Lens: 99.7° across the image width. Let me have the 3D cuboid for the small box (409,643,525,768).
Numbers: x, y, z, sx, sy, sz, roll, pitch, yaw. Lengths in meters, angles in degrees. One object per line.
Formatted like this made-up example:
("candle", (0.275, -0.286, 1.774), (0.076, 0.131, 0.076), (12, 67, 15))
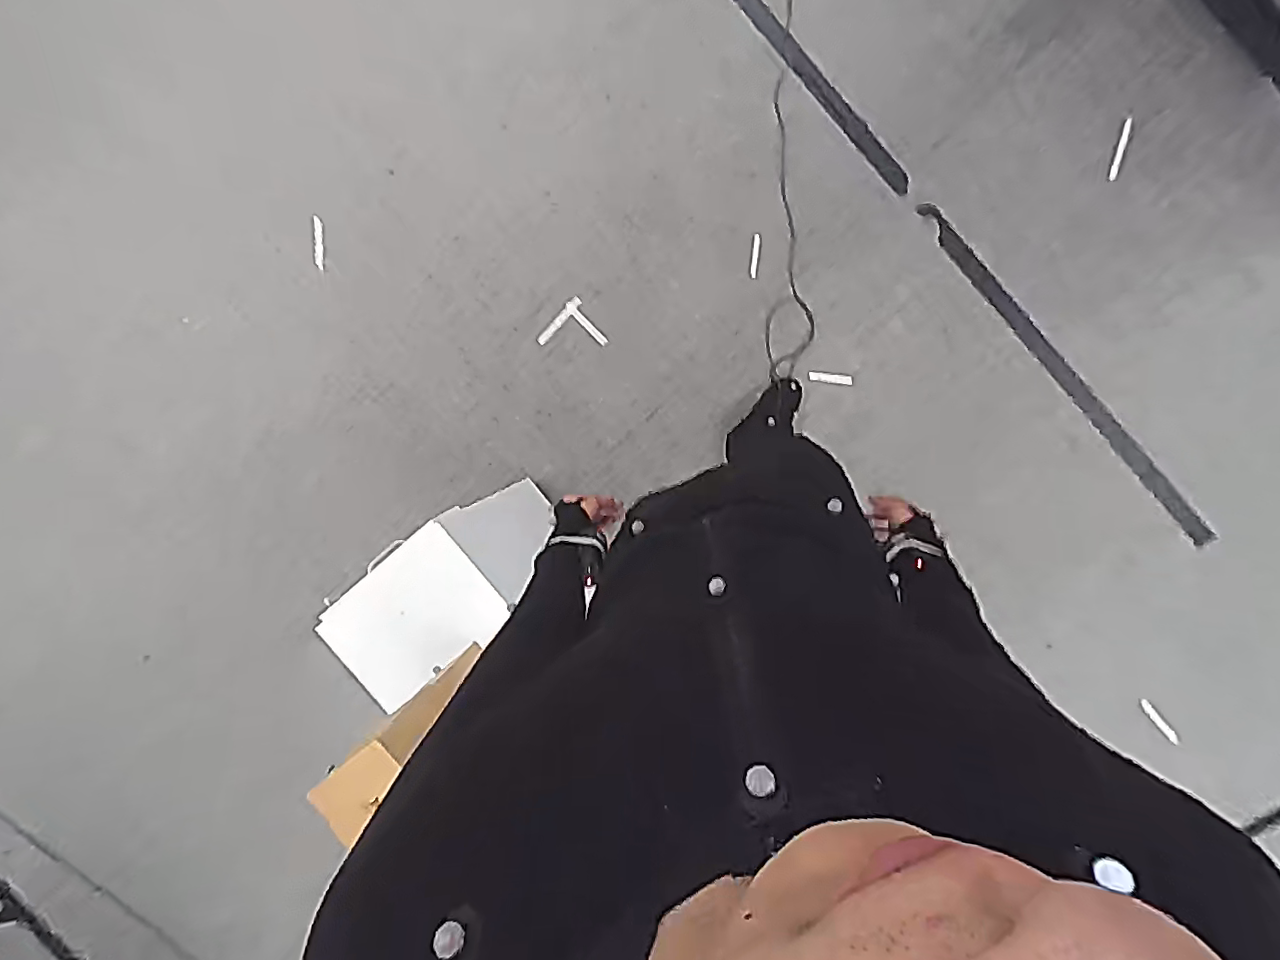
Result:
("small box", (-0.359, 0.462, 1.076), (0.168, 0.176, 0.179), (-41, 91, 12))

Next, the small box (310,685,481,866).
("small box", (-0.397, 0.489, 0.920), (0.179, 0.176, 0.168), (-40, 92, 13))
